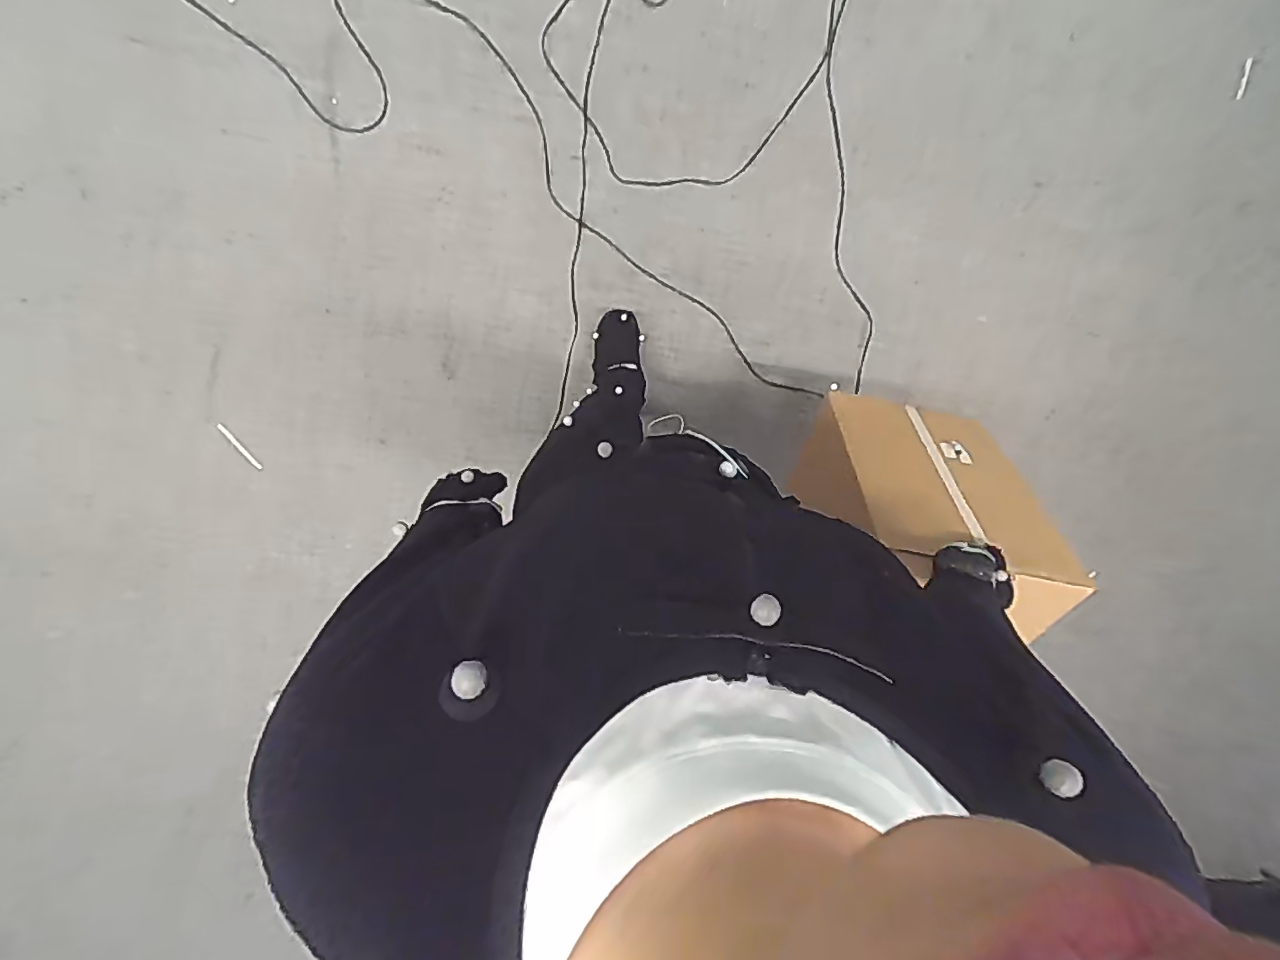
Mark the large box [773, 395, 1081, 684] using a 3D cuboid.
[{"bbox_3d":[0.459,0.102,0.991,0.320,0.408,0.320,11,130,-4],"label":"large box"}]
